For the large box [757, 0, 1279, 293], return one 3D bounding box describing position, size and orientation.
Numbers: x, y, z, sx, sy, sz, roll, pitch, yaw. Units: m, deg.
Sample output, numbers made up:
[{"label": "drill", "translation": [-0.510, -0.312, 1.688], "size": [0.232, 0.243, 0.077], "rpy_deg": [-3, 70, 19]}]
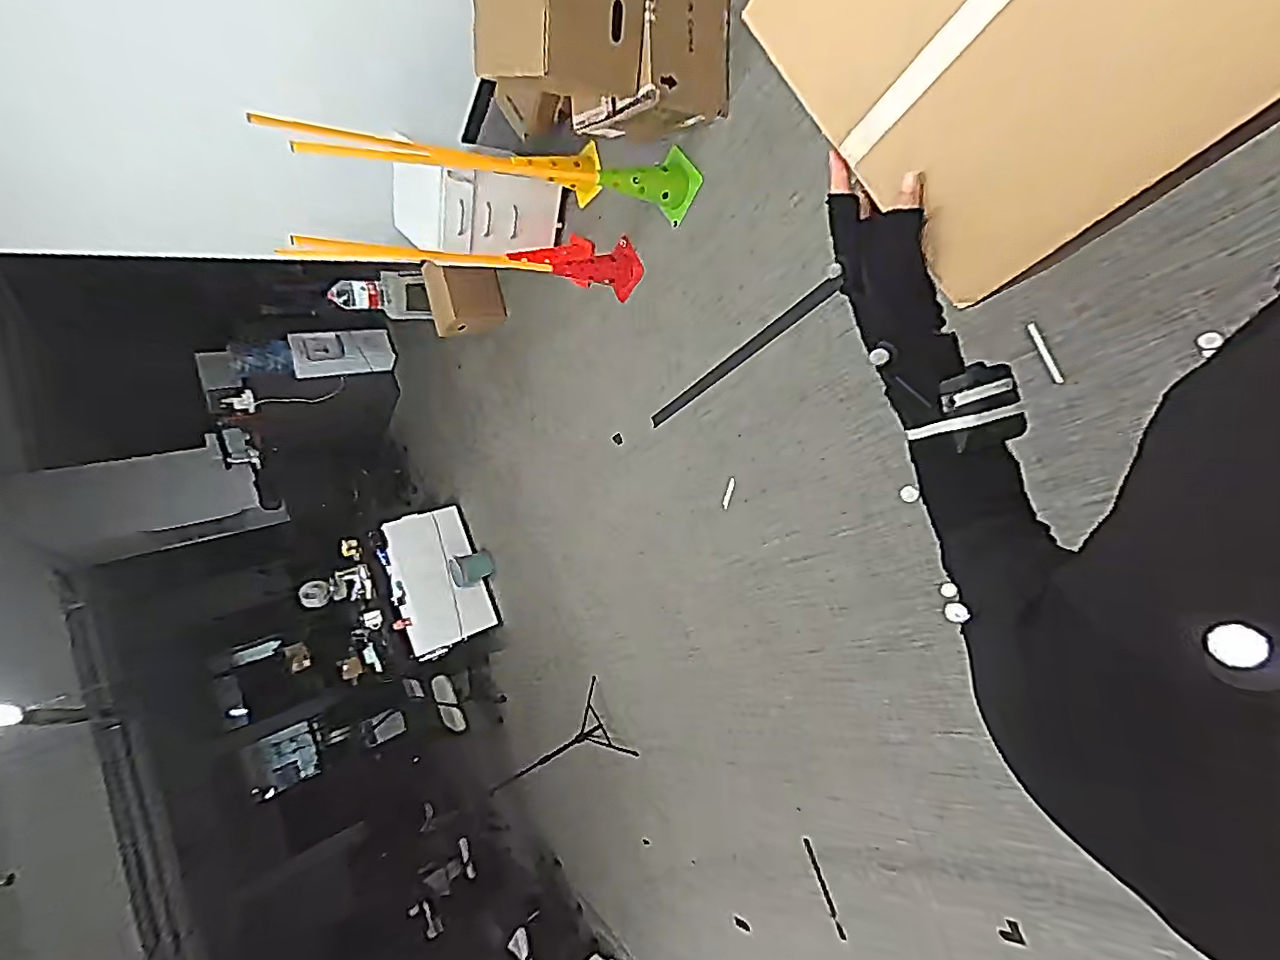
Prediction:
[{"label": "large box", "translation": [0.372, -0.400, 0.379], "size": [0.320, 0.320, 0.408], "rpy_deg": [58, 141, 6]}]
